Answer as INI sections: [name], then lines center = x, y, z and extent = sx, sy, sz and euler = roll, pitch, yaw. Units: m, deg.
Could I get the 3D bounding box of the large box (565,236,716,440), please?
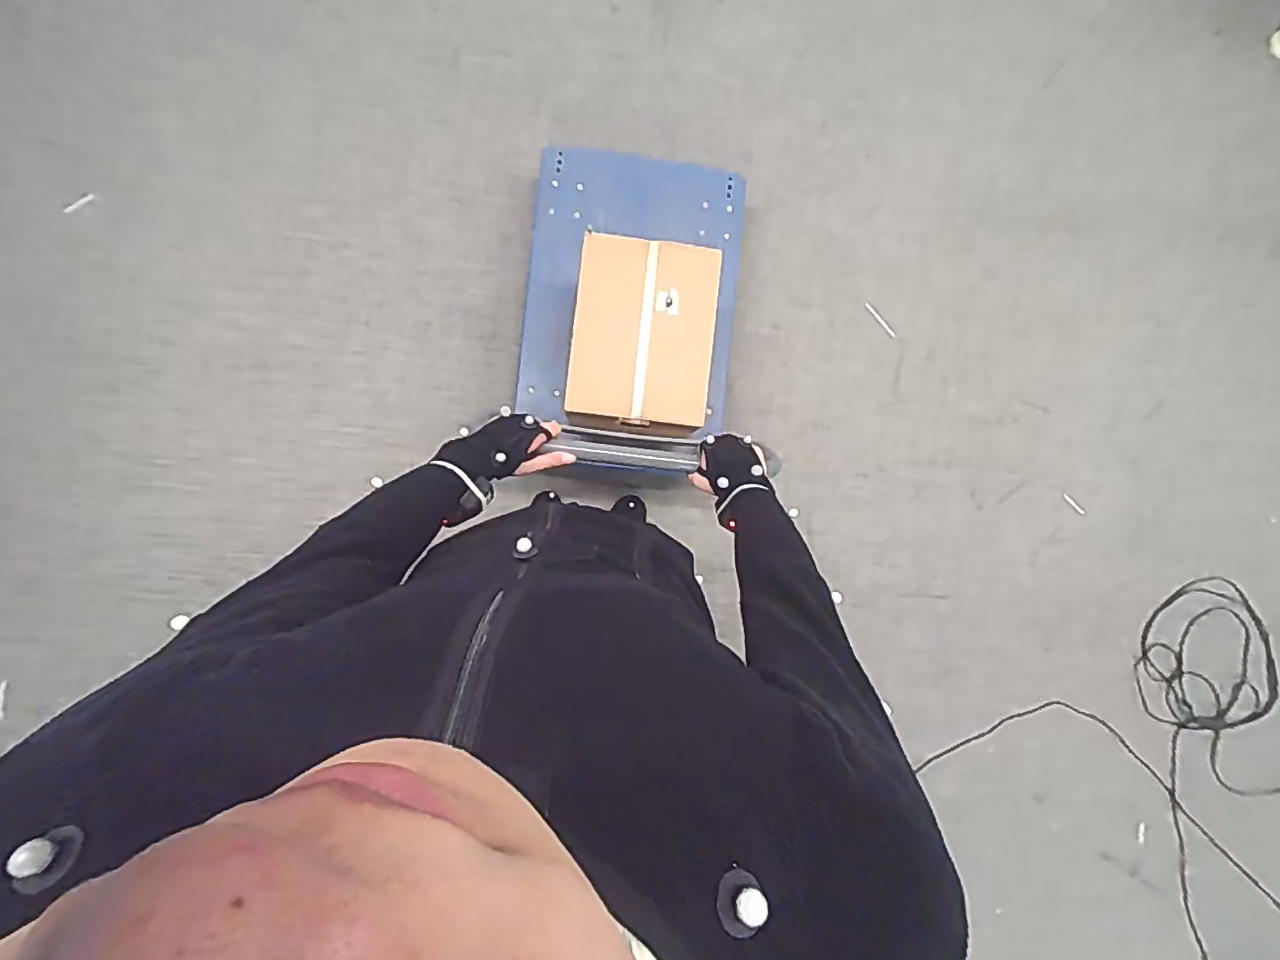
[large box]
center = -0.007, -0.324, 1.345
extent = 0.320, 0.320, 0.408
euler = 6, 87, -5
